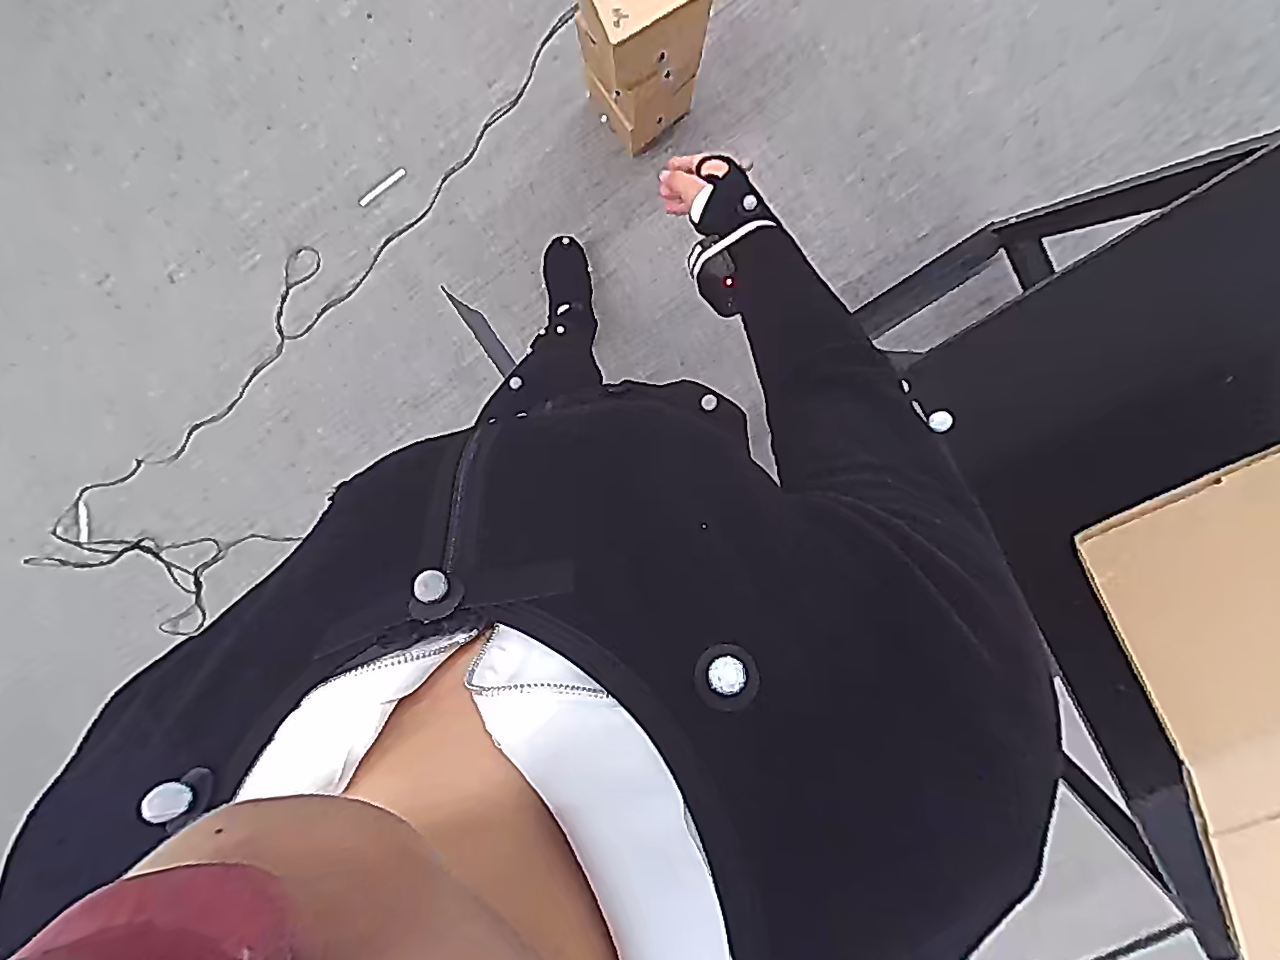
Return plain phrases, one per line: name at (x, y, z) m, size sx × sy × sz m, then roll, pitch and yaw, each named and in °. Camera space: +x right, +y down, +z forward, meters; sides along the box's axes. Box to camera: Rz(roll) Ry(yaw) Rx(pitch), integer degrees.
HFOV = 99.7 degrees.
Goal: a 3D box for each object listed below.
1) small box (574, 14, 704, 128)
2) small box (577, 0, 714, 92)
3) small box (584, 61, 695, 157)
small box at (0.000, -0.822, 1.029) m, size 0.179 × 0.176 × 0.168 m, roll -39°, pitch 102°, yaw 8°
small box at (-0.001, -0.779, 0.870) m, size 0.179 × 0.176 × 0.168 m, roll -25°, pitch 103°, yaw 6°
small box at (-0.002, -0.857, 1.187) m, size 0.179 × 0.176 × 0.168 m, roll -36°, pitch 101°, yaw 10°
